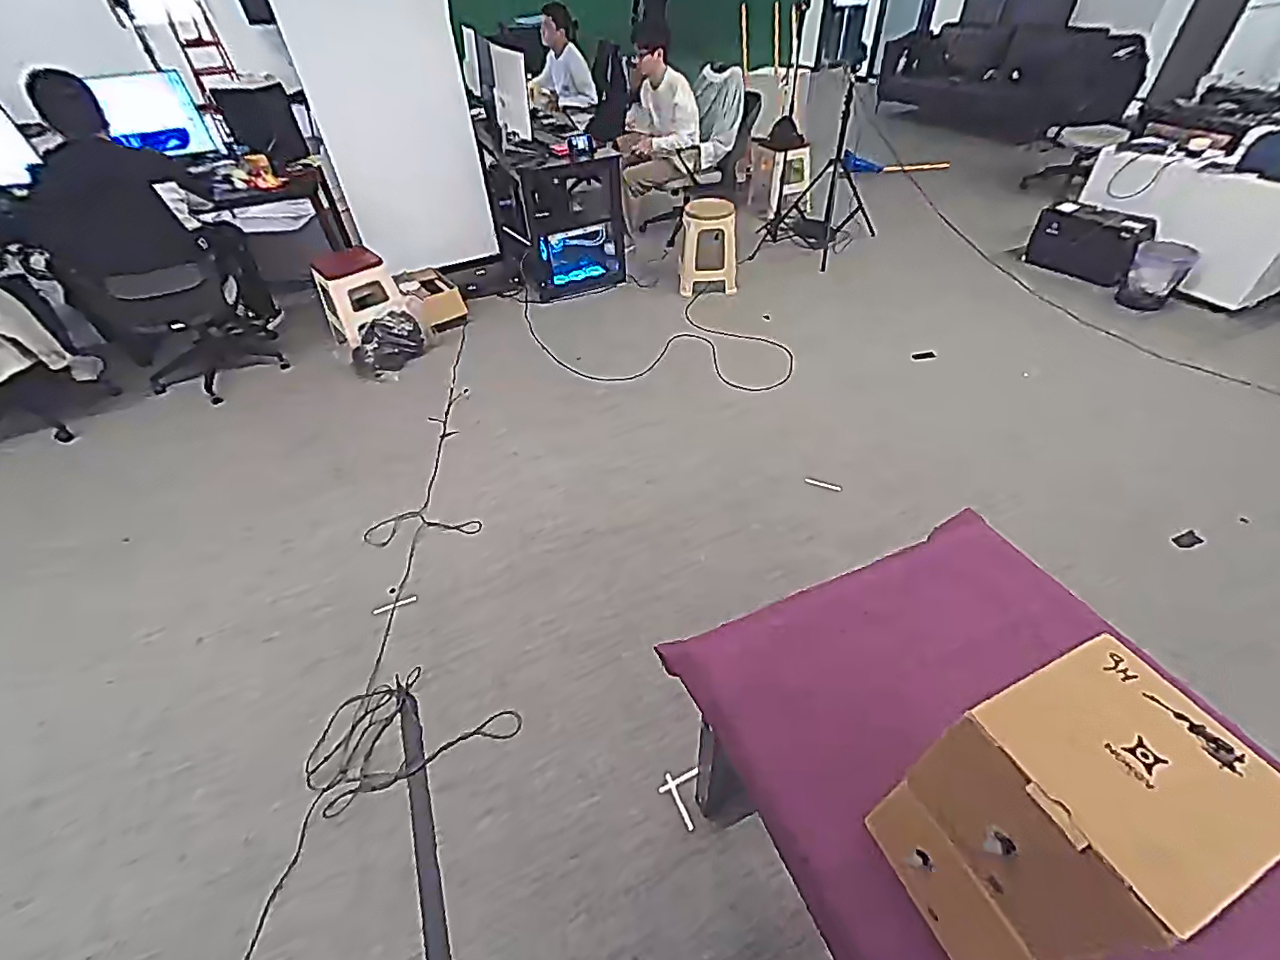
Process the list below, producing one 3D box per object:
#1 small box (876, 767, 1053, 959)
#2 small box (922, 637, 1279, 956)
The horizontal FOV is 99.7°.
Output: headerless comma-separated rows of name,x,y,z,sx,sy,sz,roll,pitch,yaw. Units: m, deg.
small box,0.387,0.400,0.591,0.179,0.176,0.168,-17,46,-15
small box,0.385,0.279,0.480,0.179,0.176,0.168,-19,47,-16
